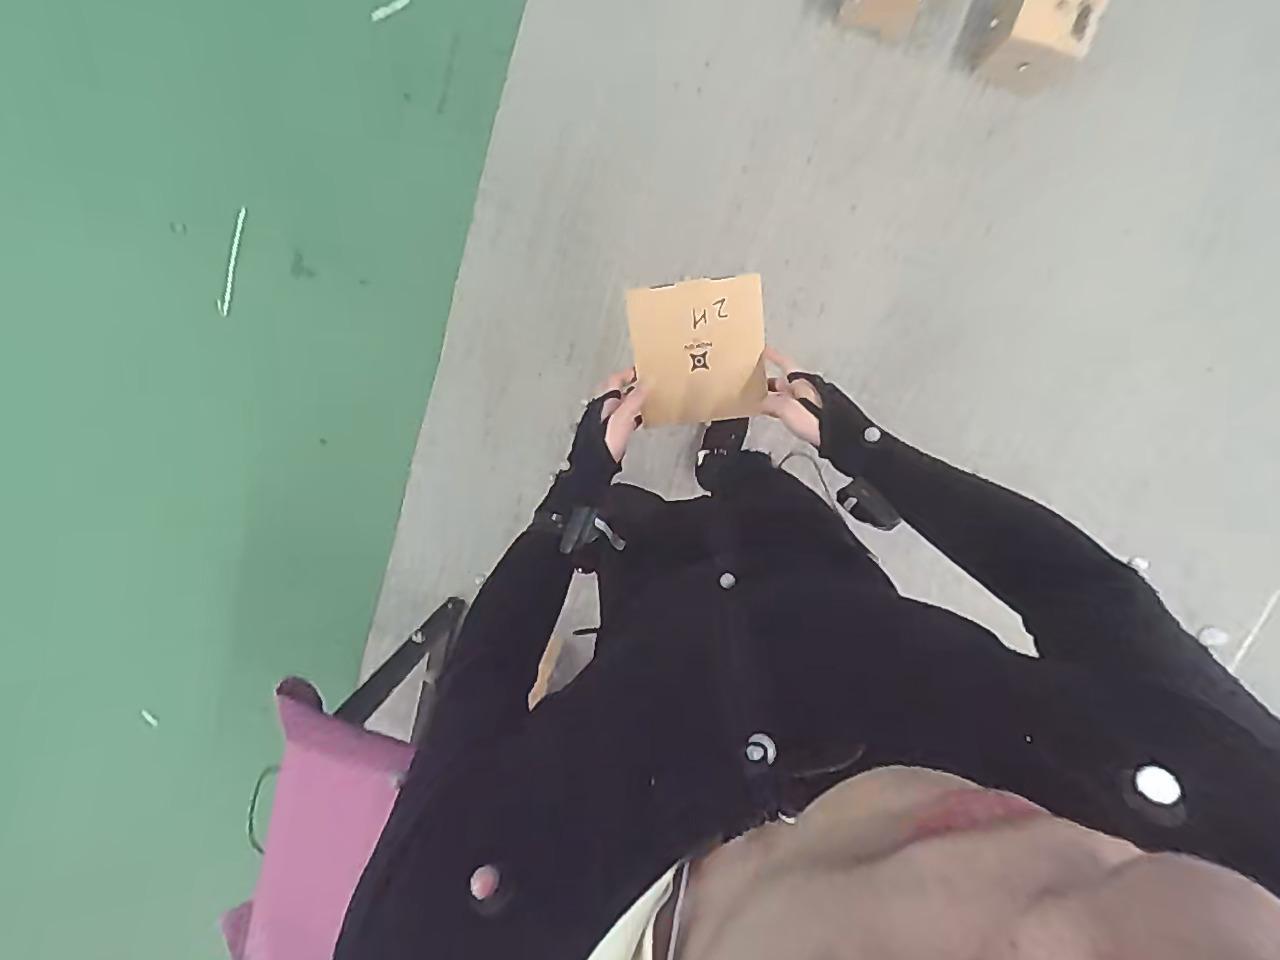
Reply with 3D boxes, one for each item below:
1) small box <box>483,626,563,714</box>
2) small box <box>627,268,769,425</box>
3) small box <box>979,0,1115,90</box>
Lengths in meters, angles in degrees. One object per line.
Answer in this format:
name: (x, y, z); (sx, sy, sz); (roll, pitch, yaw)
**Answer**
small box: (-0.350, 0.573, 1.657); (0.179, 0.176, 0.168); (21, 101, 0)
small box: (0.077, -0.183, 0.738); (0.168, 0.176, 0.179); (-6, 106, 3)
small box: (0.933, -1.041, 1.243); (0.179, 0.176, 0.168); (19, 101, 2)
